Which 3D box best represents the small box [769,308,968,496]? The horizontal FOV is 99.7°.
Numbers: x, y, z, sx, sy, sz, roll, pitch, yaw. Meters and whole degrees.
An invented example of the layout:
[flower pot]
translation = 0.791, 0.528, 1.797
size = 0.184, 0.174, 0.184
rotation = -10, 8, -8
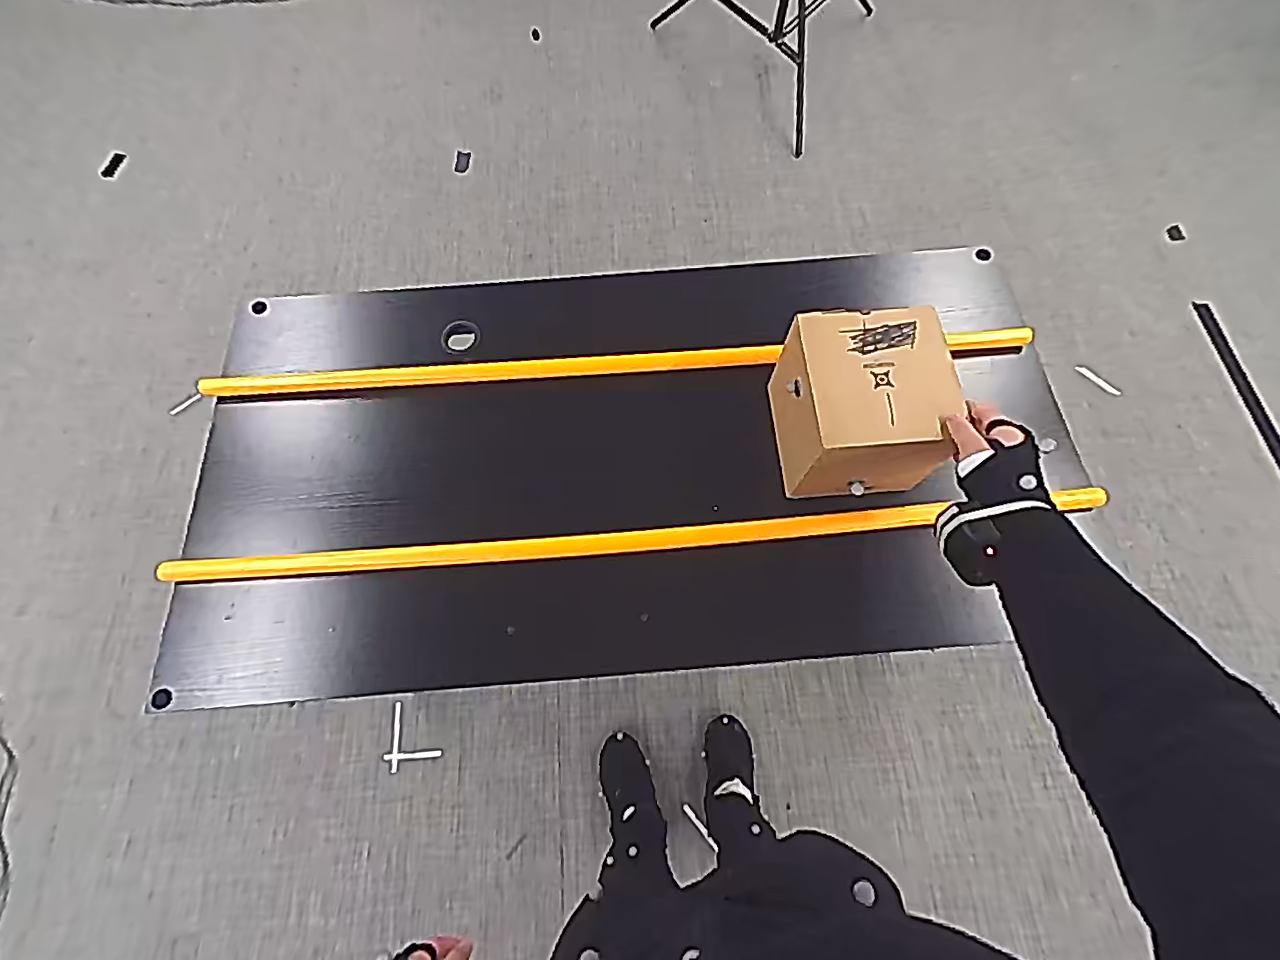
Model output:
[small box]
translation = 0.270, -0.092, 0.688
size = 0.168, 0.176, 0.179
rotation = -4, 70, 0
